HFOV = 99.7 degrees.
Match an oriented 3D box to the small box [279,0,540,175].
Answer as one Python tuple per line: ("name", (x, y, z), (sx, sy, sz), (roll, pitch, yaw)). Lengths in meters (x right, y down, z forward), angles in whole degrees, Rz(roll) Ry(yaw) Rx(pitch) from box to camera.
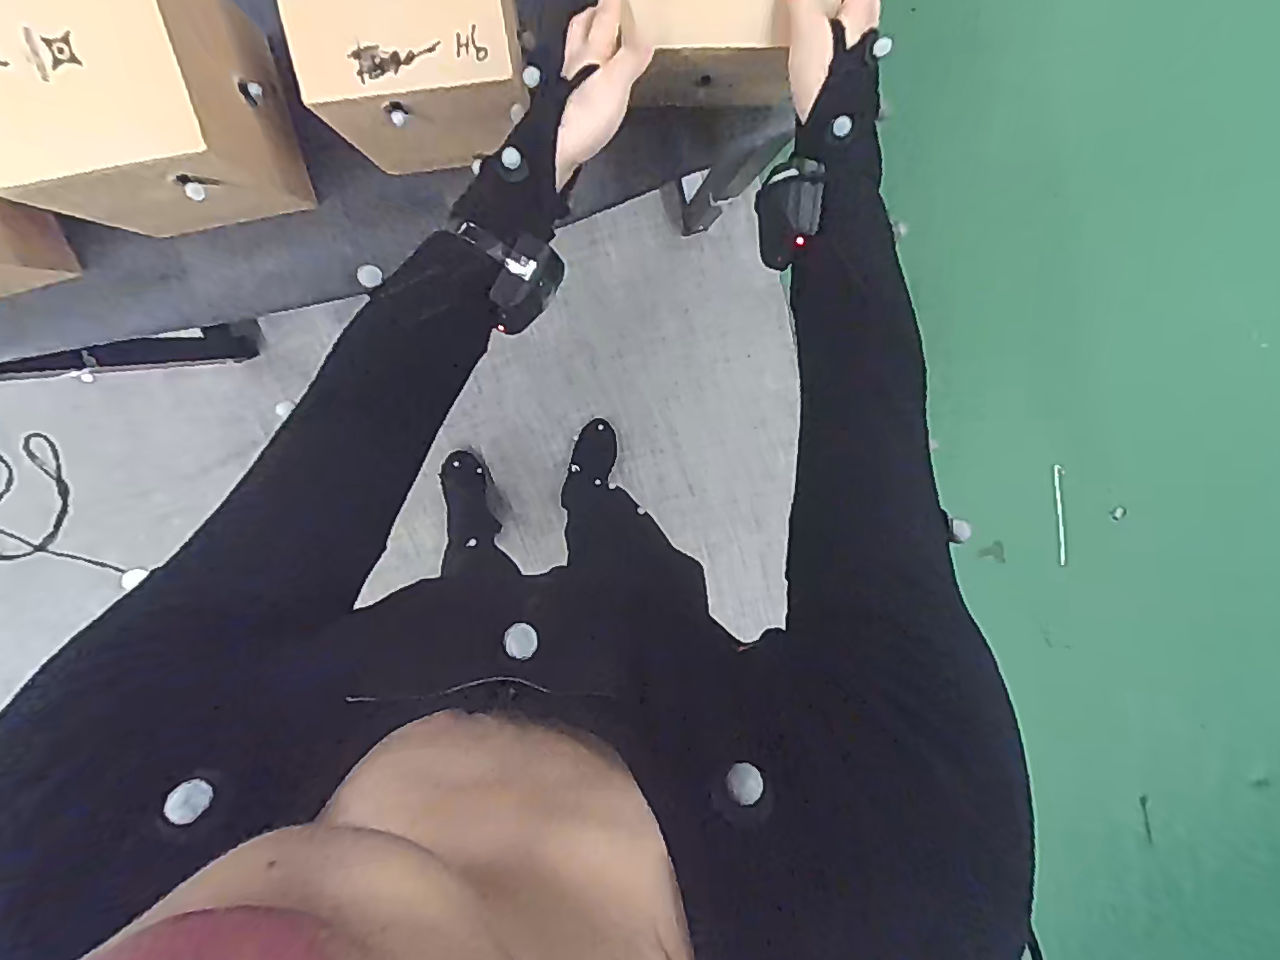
("small box", (-0.191, -0.398, 0.476), (0.168, 0.176, 0.179), (-7, 103, 0))

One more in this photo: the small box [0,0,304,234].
("small box", (-0.435, -0.333, 0.478), (0.179, 0.176, 0.168), (-11, 103, 0))

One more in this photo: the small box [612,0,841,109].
("small box", (0.065, -0.441, 0.468), (0.179, 0.176, 0.168), (-2, 112, -2))
